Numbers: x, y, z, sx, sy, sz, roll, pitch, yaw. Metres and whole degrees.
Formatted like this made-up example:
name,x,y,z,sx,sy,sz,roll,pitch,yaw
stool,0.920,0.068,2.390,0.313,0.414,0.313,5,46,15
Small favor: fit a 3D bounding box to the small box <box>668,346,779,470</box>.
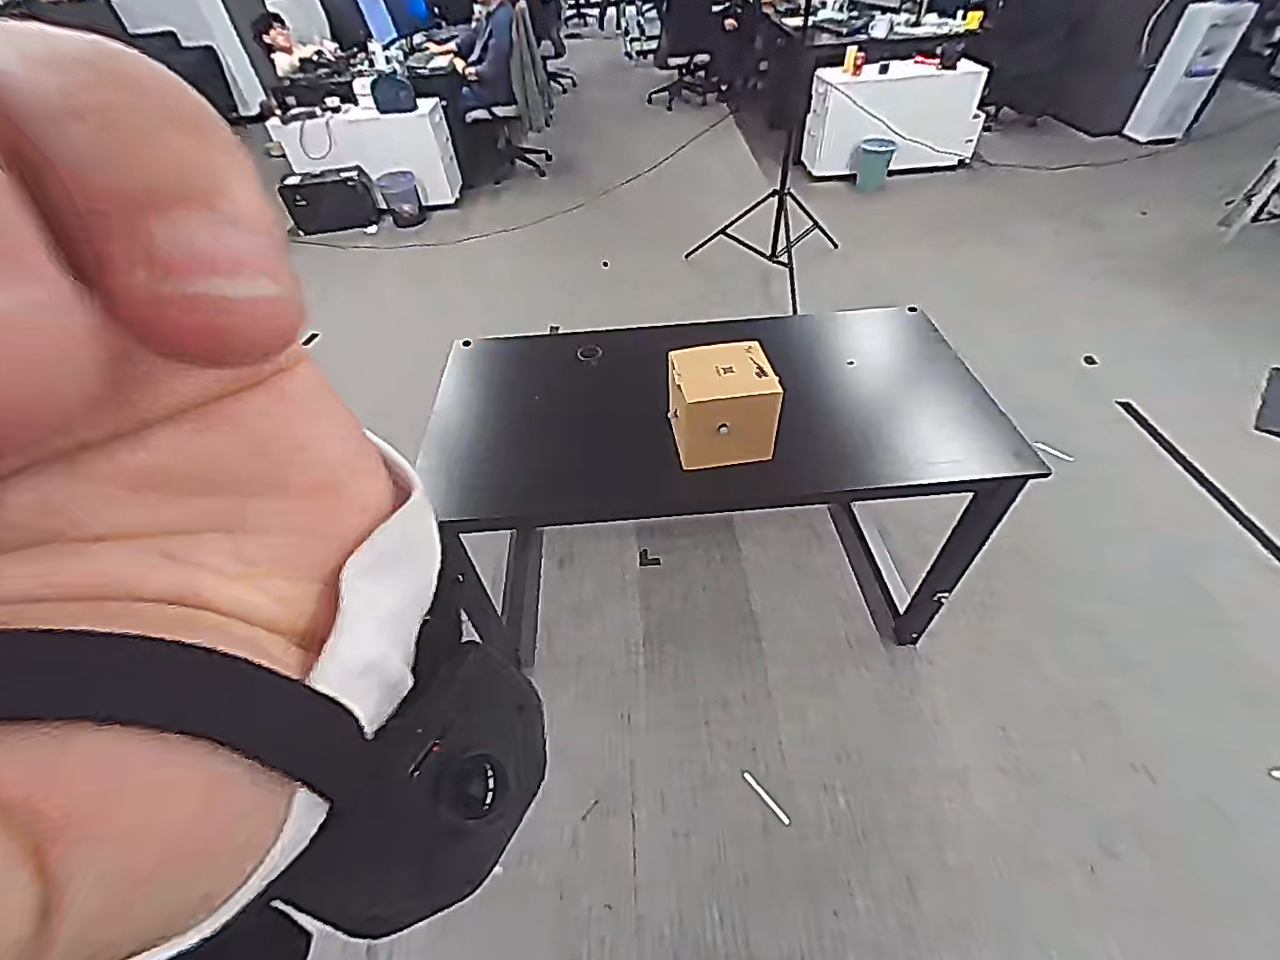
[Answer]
name,x,y,z,sx,sy,sz,roll,pitch,yaw
small box,0.156,-0.136,1.052,0.179,0.176,0.168,-8,46,-2
